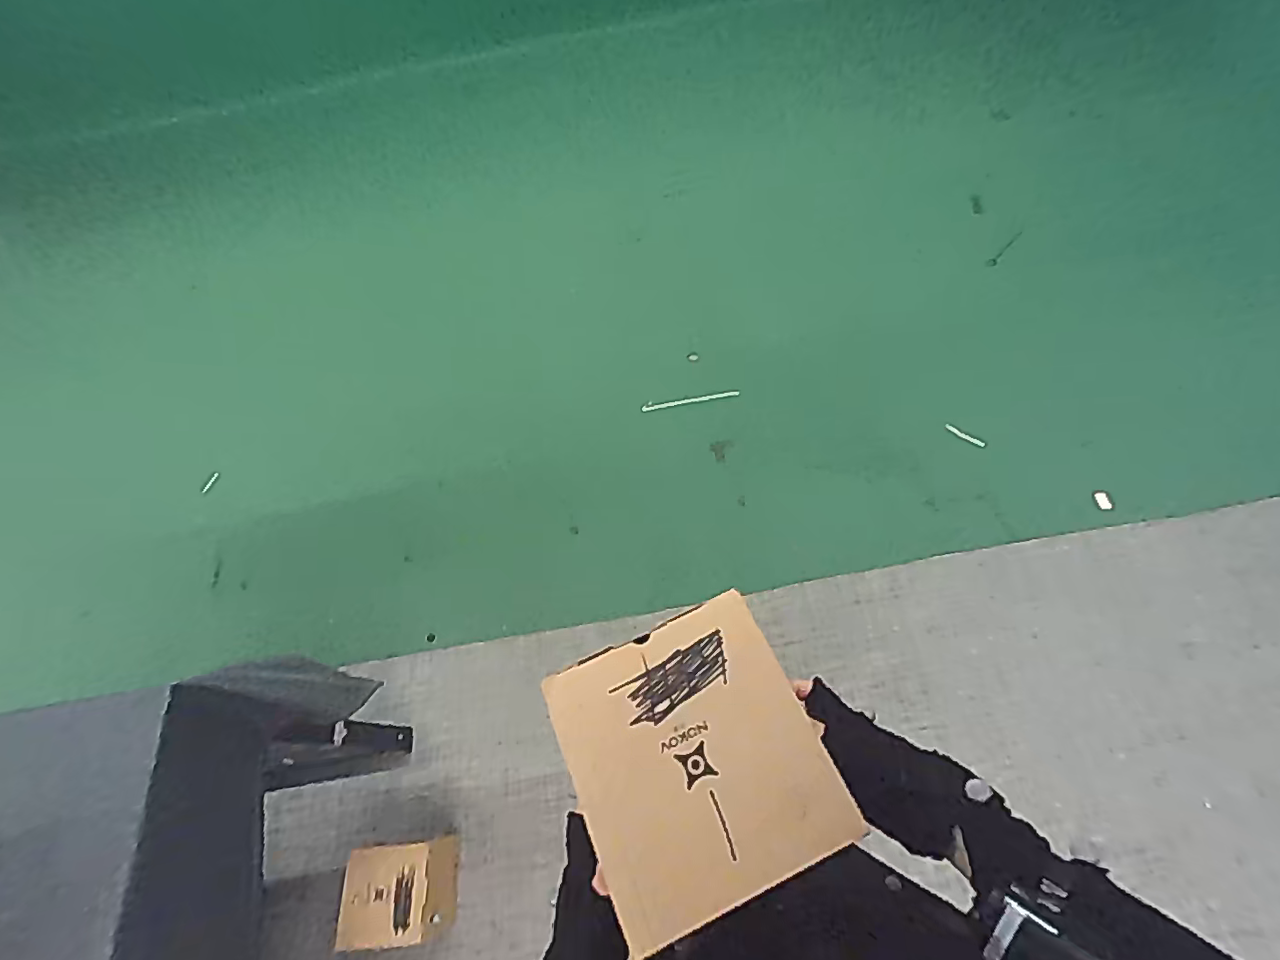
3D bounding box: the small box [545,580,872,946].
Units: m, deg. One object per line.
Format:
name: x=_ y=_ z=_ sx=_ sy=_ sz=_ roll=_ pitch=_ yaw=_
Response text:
small box: x=0.042 y=0.210 z=0.430 sx=0.168 sy=0.176 sz=0.179 roll=-23 pitch=63 yaw=-6
